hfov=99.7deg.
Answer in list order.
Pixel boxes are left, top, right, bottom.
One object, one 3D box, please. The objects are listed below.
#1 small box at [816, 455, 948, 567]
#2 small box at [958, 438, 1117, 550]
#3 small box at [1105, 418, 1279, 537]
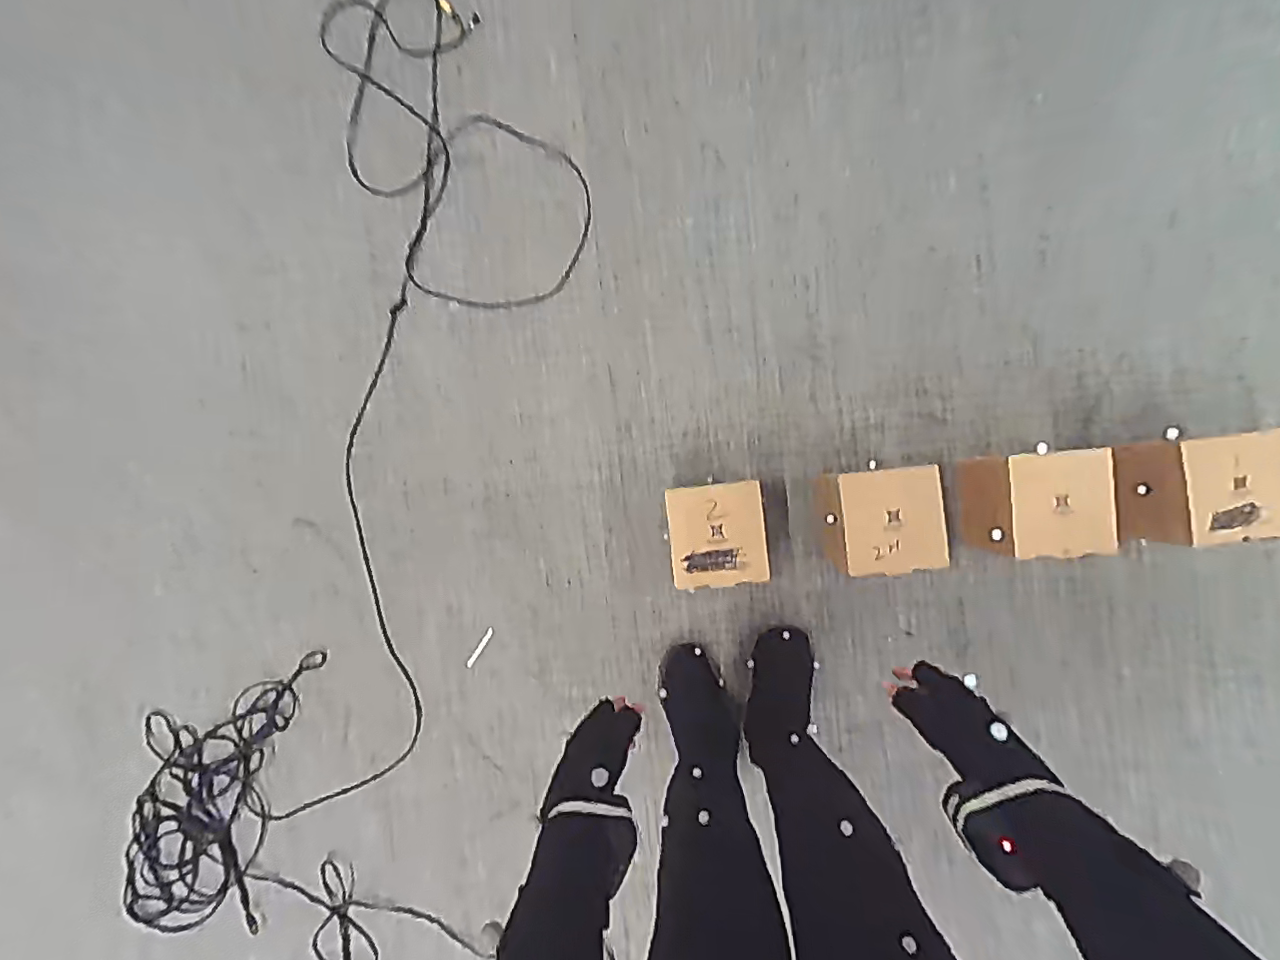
[{"bbox_3d":[0.427,0.052,0.980,0.168,0.176,0.179,-6,91,5],"label":"small box"},{"bbox_3d":[0.694,0.023,0.963,0.168,0.176,0.179,-5,91,4],"label":"small box"},{"bbox_3d":[0.960,-0.005,0.942,0.168,0.176,0.179,-8,90,4],"label":"small box"}]
